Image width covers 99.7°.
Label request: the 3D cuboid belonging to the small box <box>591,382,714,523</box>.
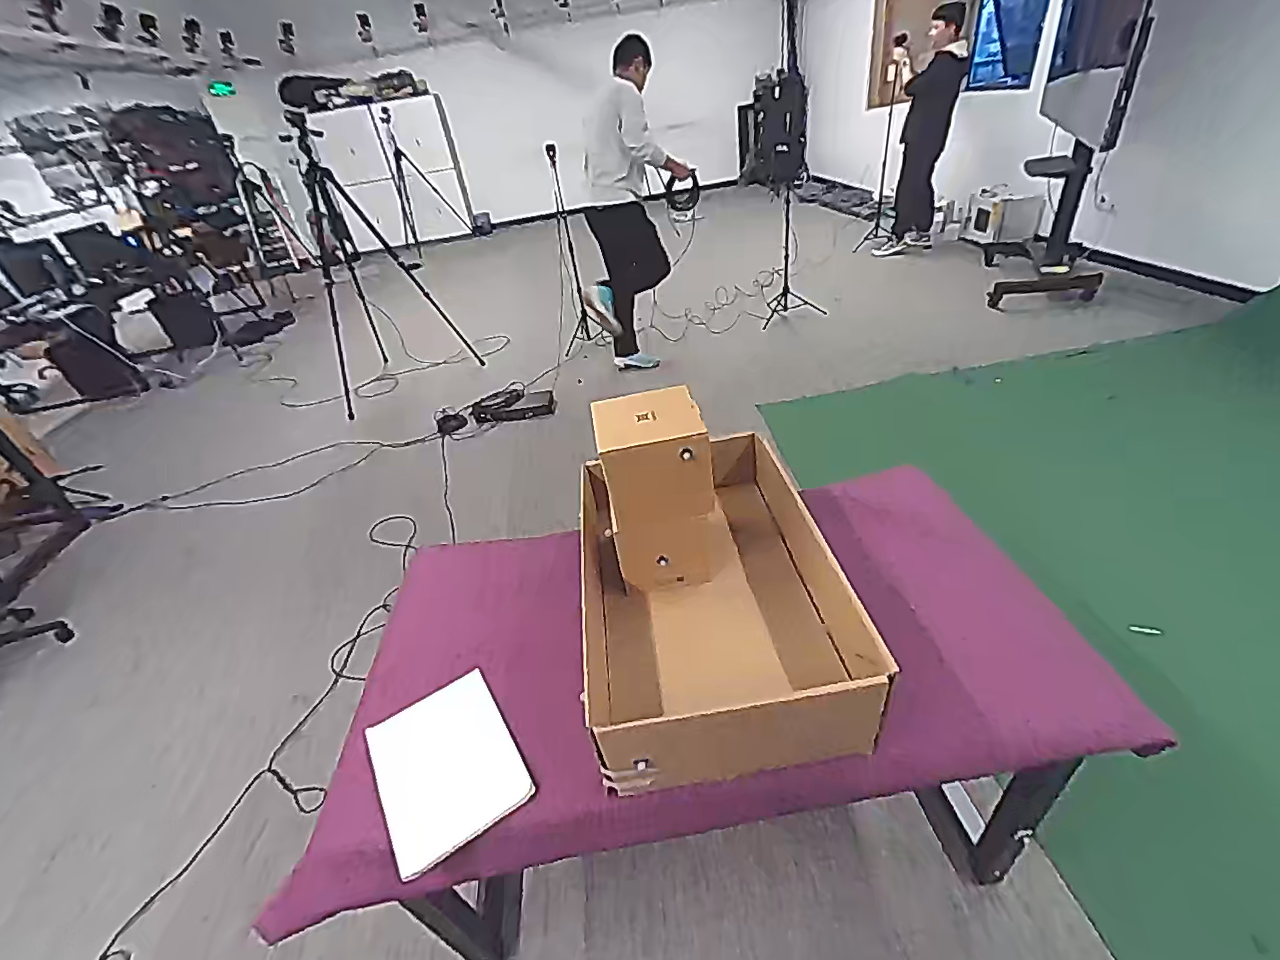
[{"bbox_3d":[0.022,-0.045,0.933,0.179,0.176,0.168,-11,37,-2],"label":"small box"}]

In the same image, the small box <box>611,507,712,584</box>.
[{"bbox_3d":[0.038,0.082,1.032,0.168,0.176,0.179,-10,37,0],"label":"small box"}]
